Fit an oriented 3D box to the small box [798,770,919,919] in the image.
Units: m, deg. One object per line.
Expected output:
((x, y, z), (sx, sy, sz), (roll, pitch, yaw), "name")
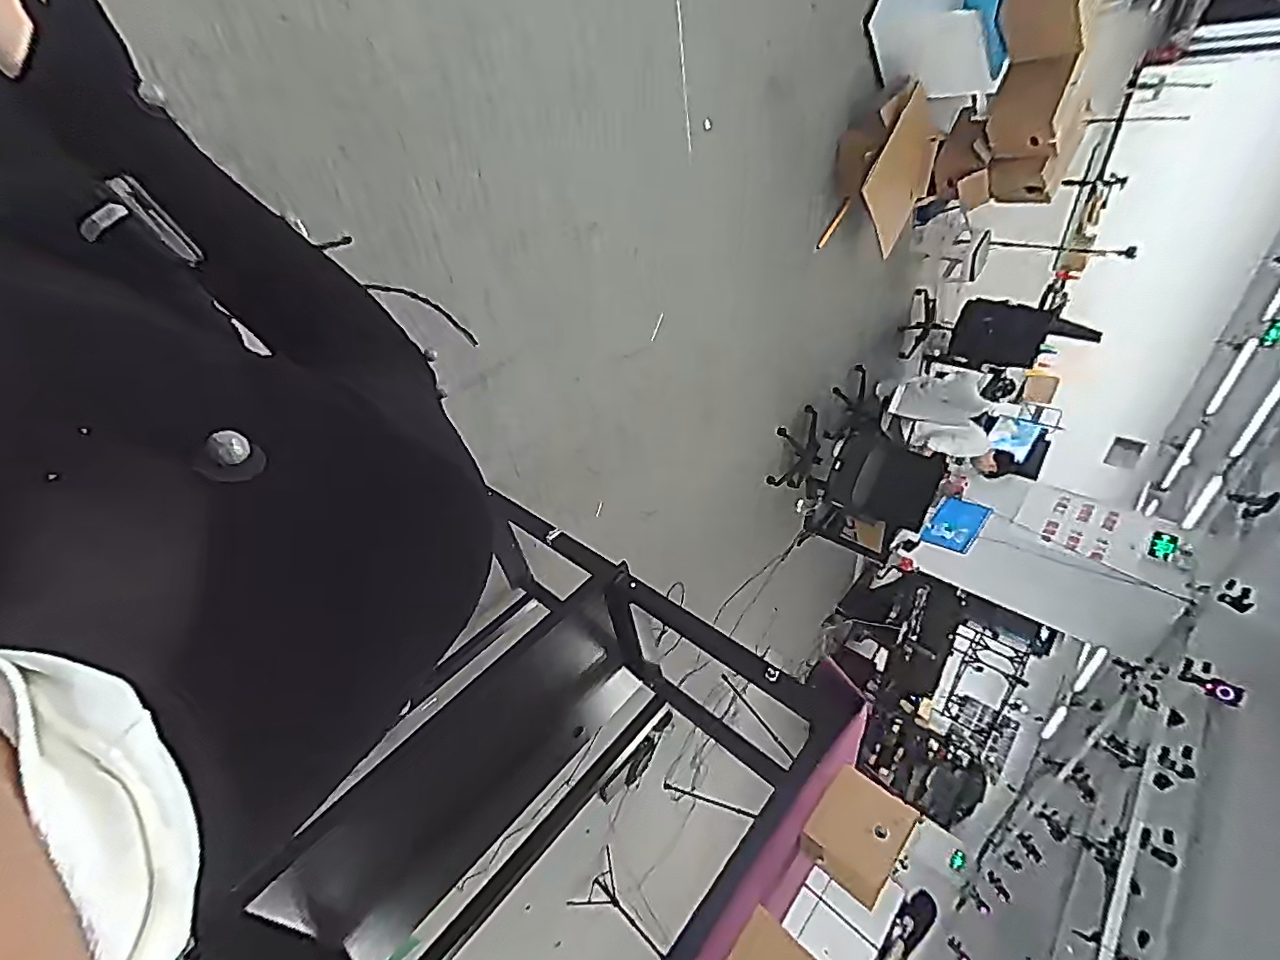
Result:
((0.450, 0.754, 1.131), (0.179, 0.176, 0.168), (-40, 137, -27), "small box")

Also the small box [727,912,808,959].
((0.230, 0.943, 0.972), (0.179, 0.176, 0.168), (-39, 137, -31), "small box")
